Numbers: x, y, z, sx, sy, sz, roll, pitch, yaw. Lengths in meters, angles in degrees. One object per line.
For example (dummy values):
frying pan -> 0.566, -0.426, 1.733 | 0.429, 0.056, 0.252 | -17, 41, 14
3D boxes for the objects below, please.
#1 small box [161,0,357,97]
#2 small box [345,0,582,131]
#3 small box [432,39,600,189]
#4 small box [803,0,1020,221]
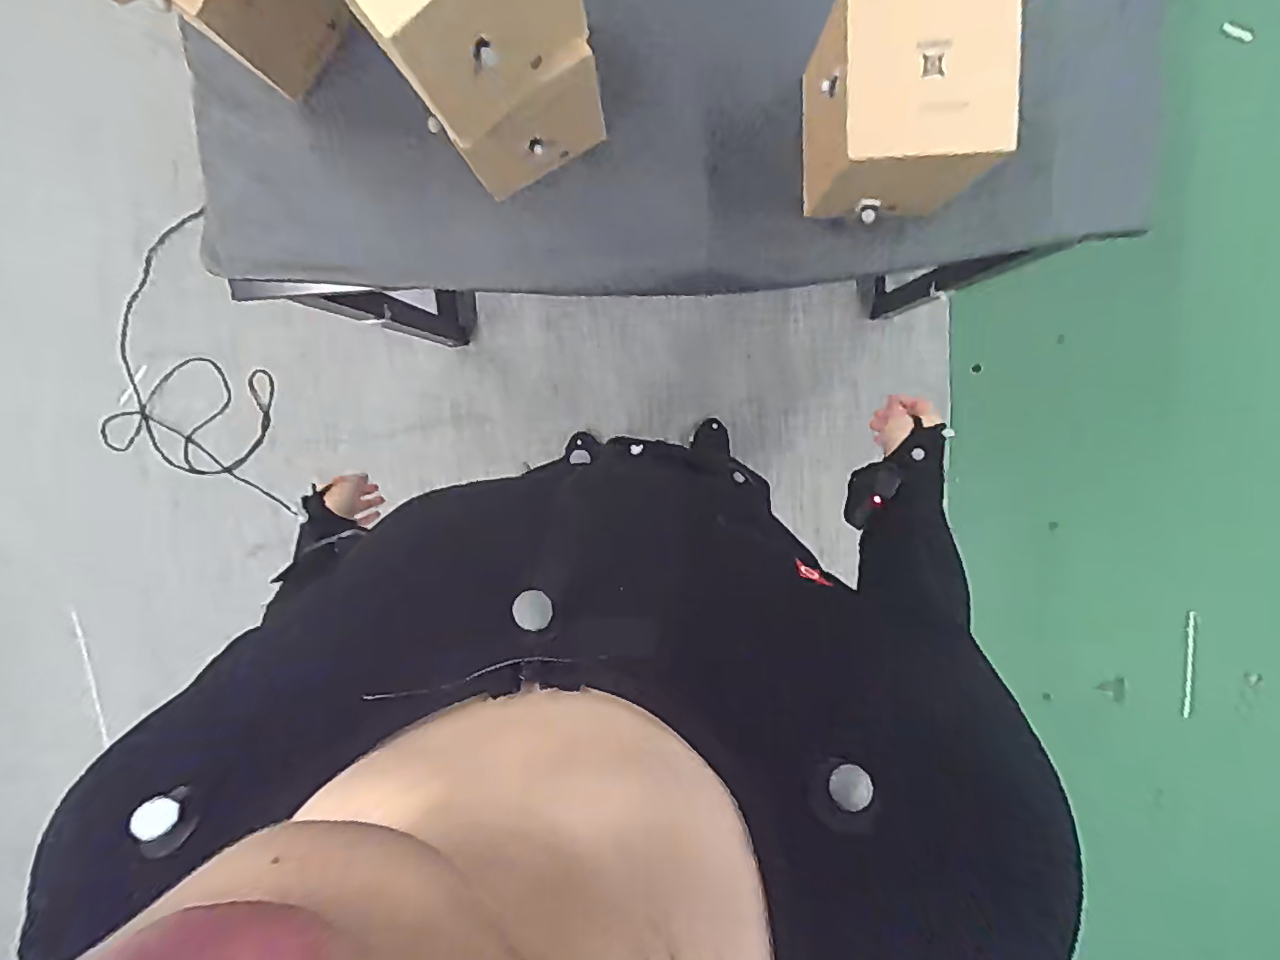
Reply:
small box -> -0.463, -0.586, 0.604 | 0.179, 0.176, 0.168 | 37, 97, -3
small box -> -0.168, -0.435, 0.450 | 0.168, 0.176, 0.179 | -39, 94, 6
small box -> -0.158, -0.463, 0.610 | 0.168, 0.176, 0.179 | -28, 95, 4
small box -> 0.284, -0.412, 0.603 | 0.168, 0.176, 0.179 | -2, 96, 3
